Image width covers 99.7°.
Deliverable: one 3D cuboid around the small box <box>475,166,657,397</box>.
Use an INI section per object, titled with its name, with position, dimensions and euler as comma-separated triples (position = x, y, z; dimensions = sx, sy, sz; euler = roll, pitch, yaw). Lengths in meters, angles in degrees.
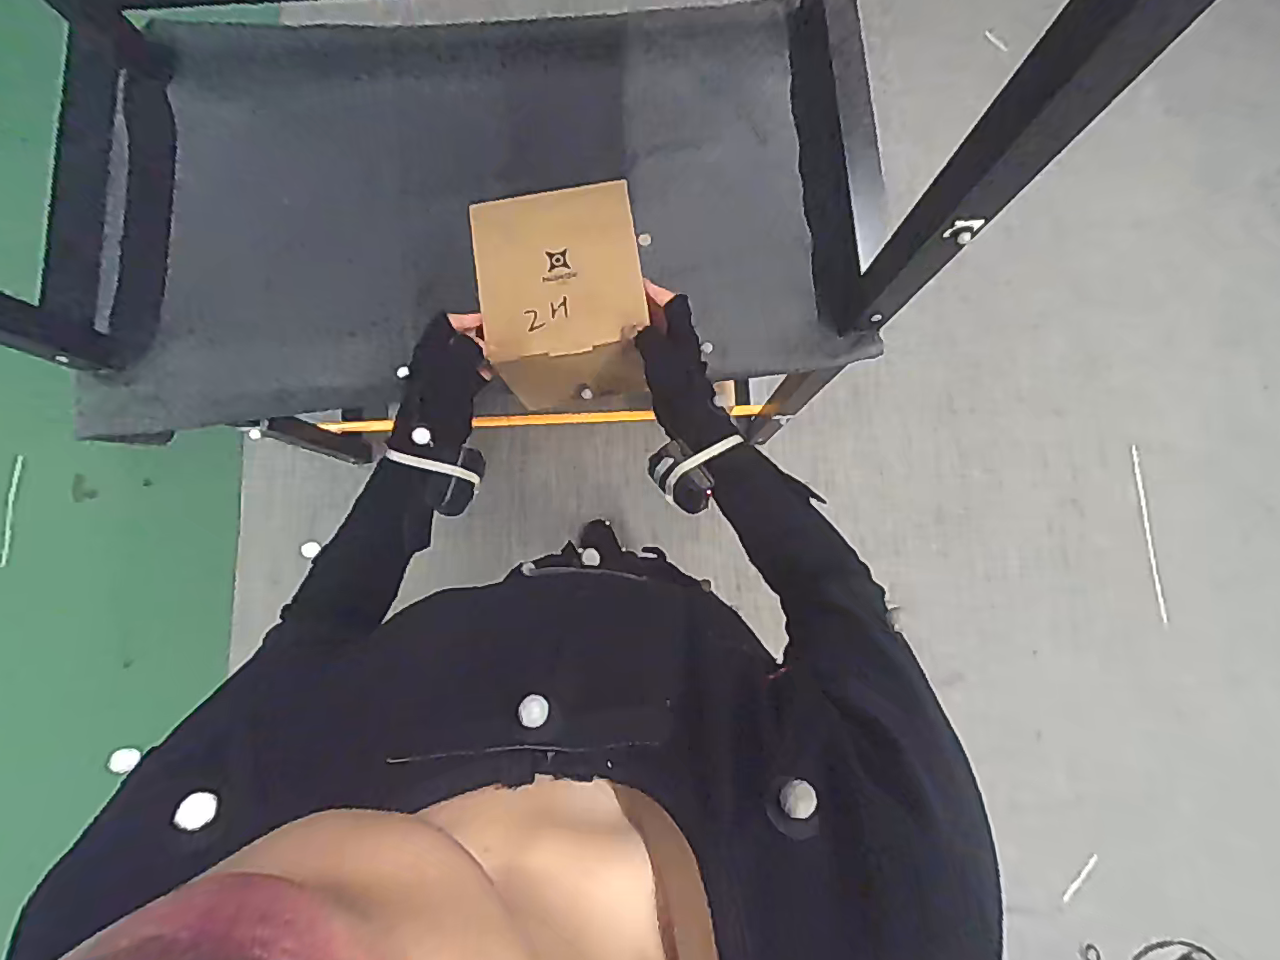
[small box]
position = -0.074, -0.211, 0.615
dimensions = 0.168, 0.176, 0.179
euler = -9, 82, 1
